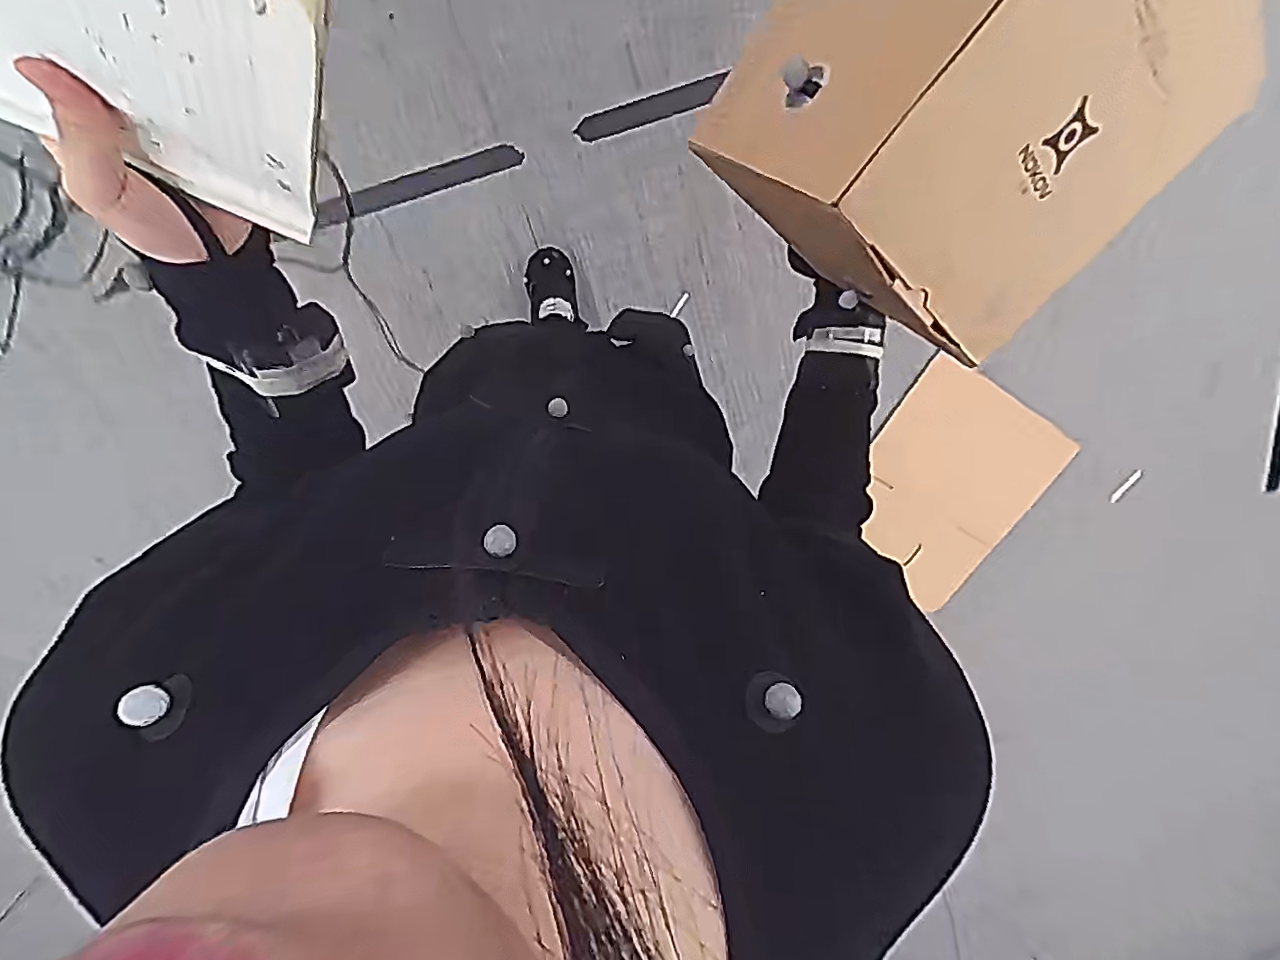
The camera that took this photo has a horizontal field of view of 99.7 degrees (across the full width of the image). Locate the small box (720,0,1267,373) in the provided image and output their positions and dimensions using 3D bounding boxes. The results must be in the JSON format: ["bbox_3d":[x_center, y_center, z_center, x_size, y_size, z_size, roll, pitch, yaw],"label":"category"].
[{"bbox_3d":[0.168,-0.199,0.303,0.168,0.176,0.179,22,116,-38],"label":"small box"}]
